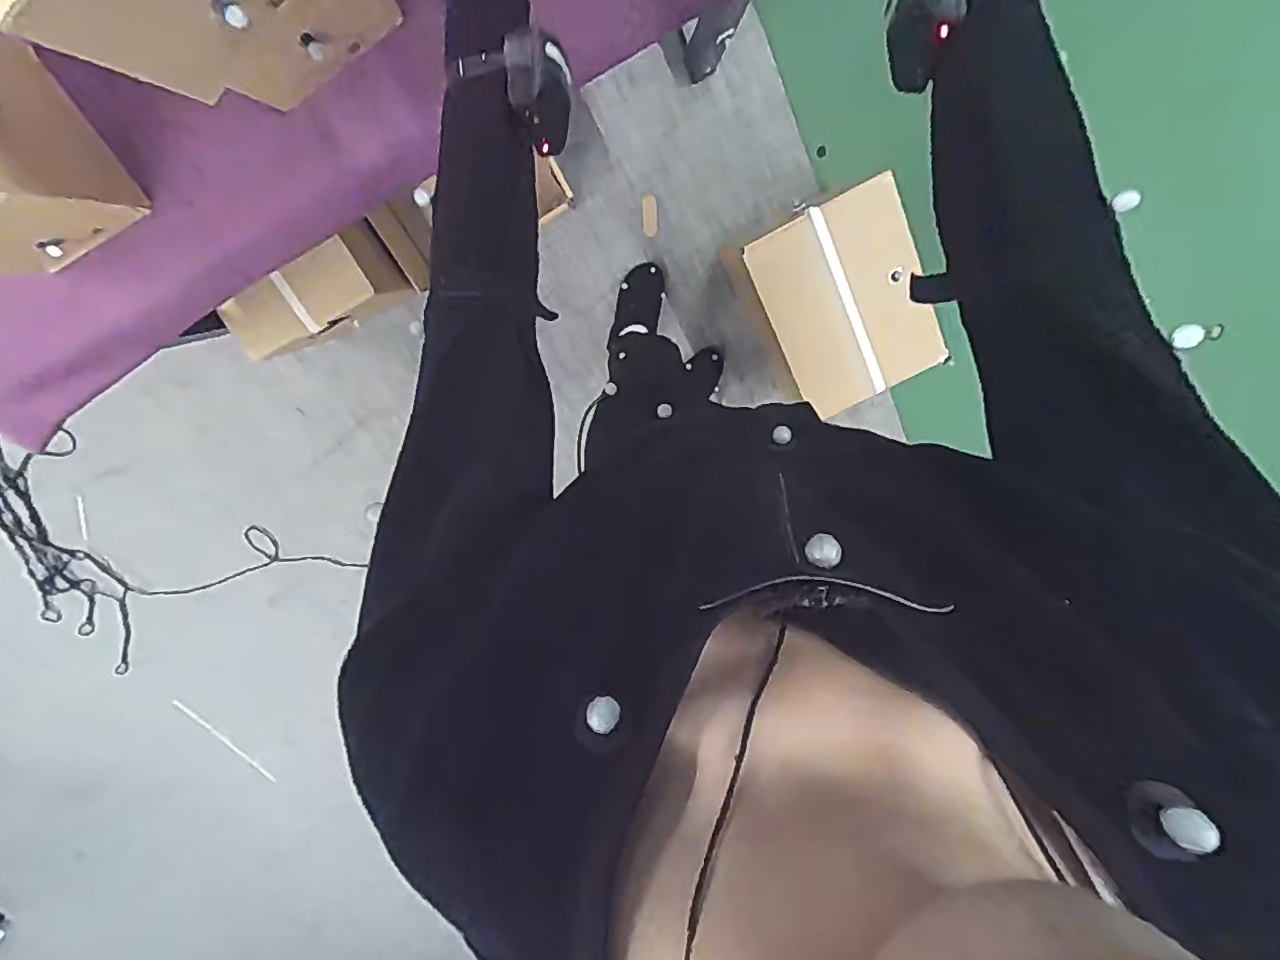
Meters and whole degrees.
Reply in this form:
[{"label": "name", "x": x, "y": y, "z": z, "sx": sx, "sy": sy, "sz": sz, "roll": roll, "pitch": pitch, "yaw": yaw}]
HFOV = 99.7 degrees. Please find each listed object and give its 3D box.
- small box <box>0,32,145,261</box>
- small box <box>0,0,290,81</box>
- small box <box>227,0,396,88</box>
[{"label": "small box", "x": -0.669, "y": -0.329, "z": 0.528, "sx": 0.168, "sy": 0.176, "sz": 0.179, "roll": -25, "pitch": 112, "yaw": 8}, {"label": "small box", "x": -0.344, "y": -0.397, "z": 0.328, "sx": 0.168, "sy": 0.176, "sz": 0.179, "roll": -35, "pitch": 109, "yaw": 13}, {"label": "small box", "x": -0.353, "y": -0.483, "z": 0.470, "sx": 0.168, "sy": 0.176, "sz": 0.179, "roll": -30, "pitch": 110, "yaw": 11}]
